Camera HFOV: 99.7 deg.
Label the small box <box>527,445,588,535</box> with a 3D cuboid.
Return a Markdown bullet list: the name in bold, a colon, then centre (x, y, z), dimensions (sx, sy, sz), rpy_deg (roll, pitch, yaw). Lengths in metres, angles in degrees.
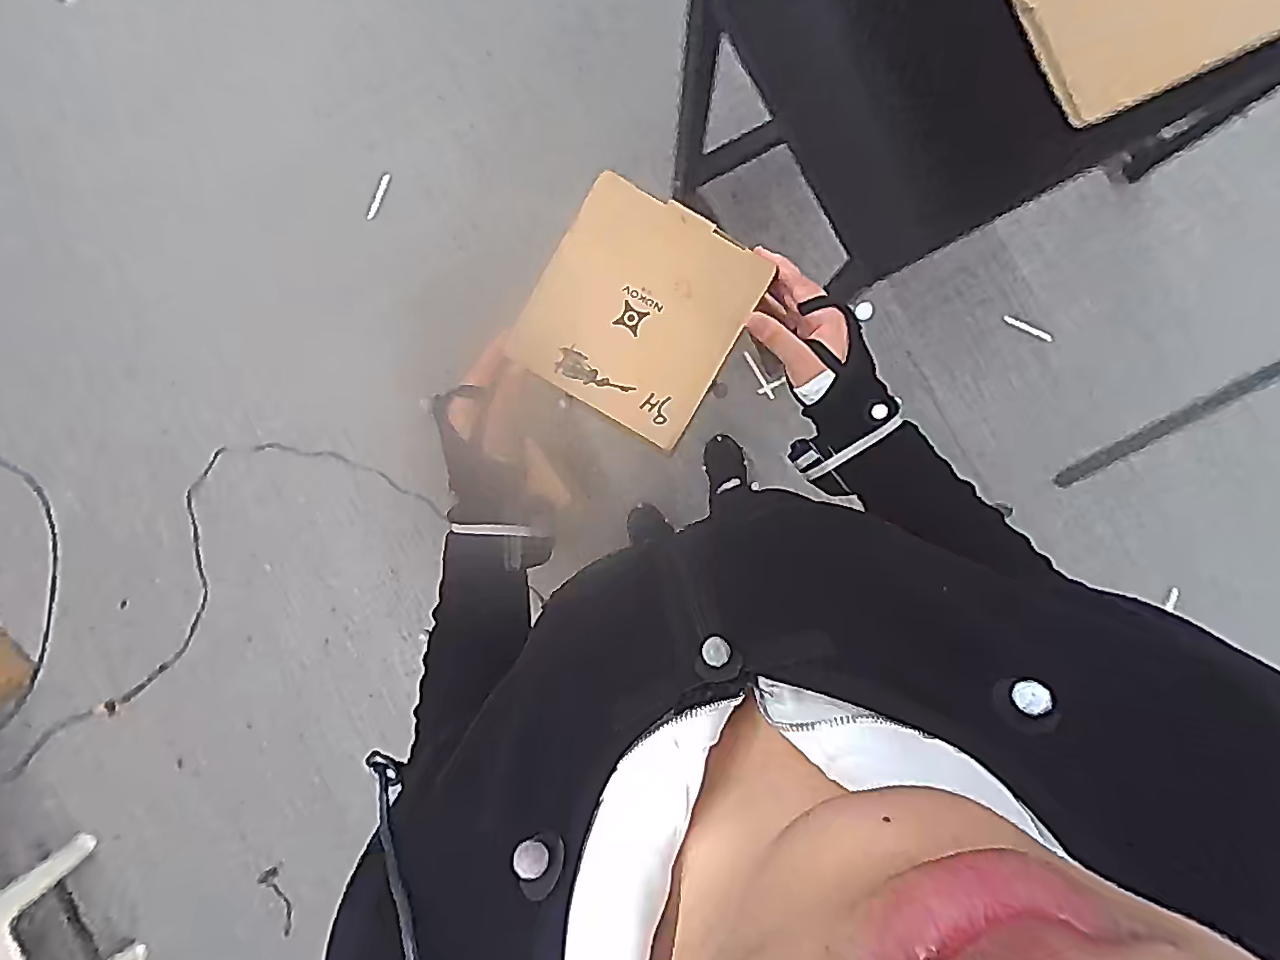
- **small box**: centre (-0.255, 0.028, 1.439), dimensions (0.168, 0.176, 0.179), rpy_deg (-32, 89, 0)

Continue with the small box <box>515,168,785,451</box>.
- **small box**: centre (0.009, -0.144, 0.524), dimensions (0.168, 0.176, 0.179), rpy_deg (31, 91, 3)

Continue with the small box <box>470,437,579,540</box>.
- **small box**: centre (-0.262, 0.019, 1.276), dimensions (0.168, 0.176, 0.179), rpy_deg (-35, 88, 0)
